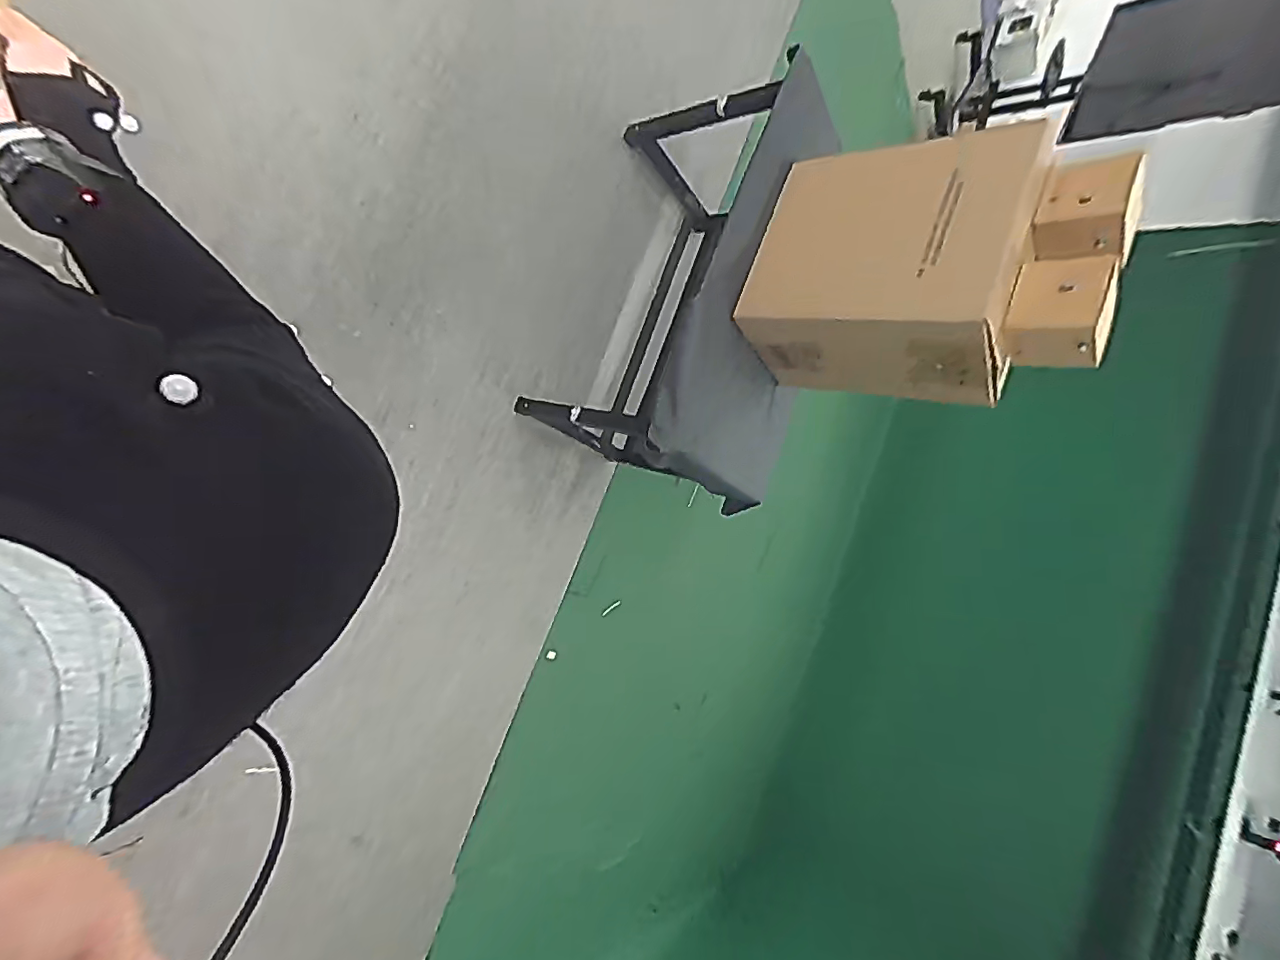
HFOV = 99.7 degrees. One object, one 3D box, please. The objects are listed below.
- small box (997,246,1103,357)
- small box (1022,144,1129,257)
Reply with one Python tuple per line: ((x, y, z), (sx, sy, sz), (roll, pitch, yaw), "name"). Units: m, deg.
((0.935, -0.399, 1.237), (0.168, 0.176, 0.179), (29, 76, -46), "small box")
((1.021, -0.640, 1.275), (0.179, 0.176, 0.168), (35, 75, -46), "small box")
